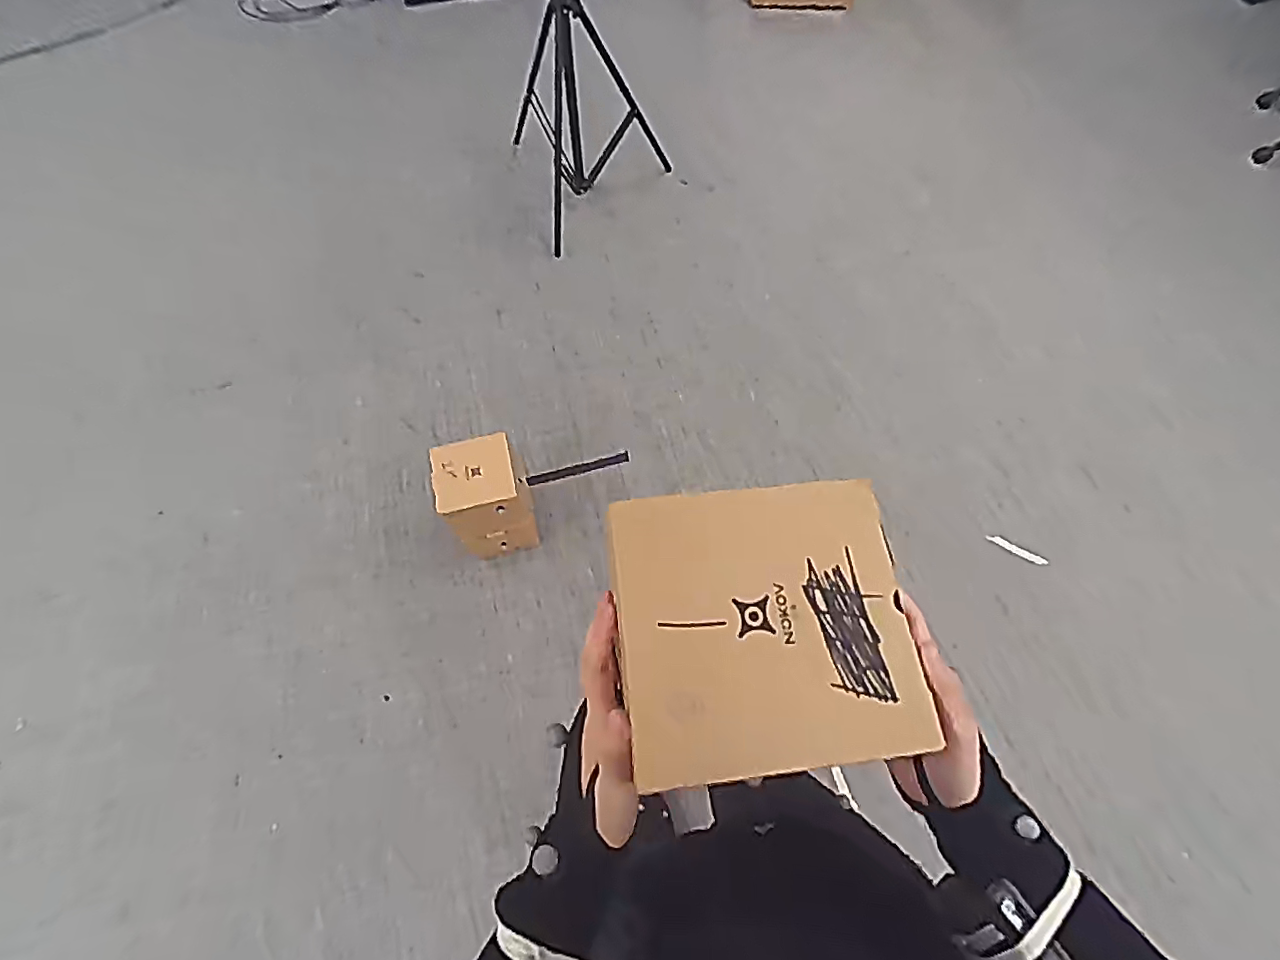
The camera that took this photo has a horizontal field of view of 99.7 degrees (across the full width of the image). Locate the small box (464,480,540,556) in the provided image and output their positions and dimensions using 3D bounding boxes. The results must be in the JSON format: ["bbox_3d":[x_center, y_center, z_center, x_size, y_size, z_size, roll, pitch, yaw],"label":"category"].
[{"bbox_3d":[-0.365,0.090,1.415,0.168,0.176,0.179,-13,68,-6],"label":"small box"}]

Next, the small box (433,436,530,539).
[{"bbox_3d":[-0.362,0.021,1.263,0.179,0.176,0.168,-13,66,-6],"label":"small box"}]

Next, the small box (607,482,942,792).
[{"bbox_3d":[0.070,0.111,0.395,0.179,0.176,0.168,-5,69,-6],"label":"small box"}]
